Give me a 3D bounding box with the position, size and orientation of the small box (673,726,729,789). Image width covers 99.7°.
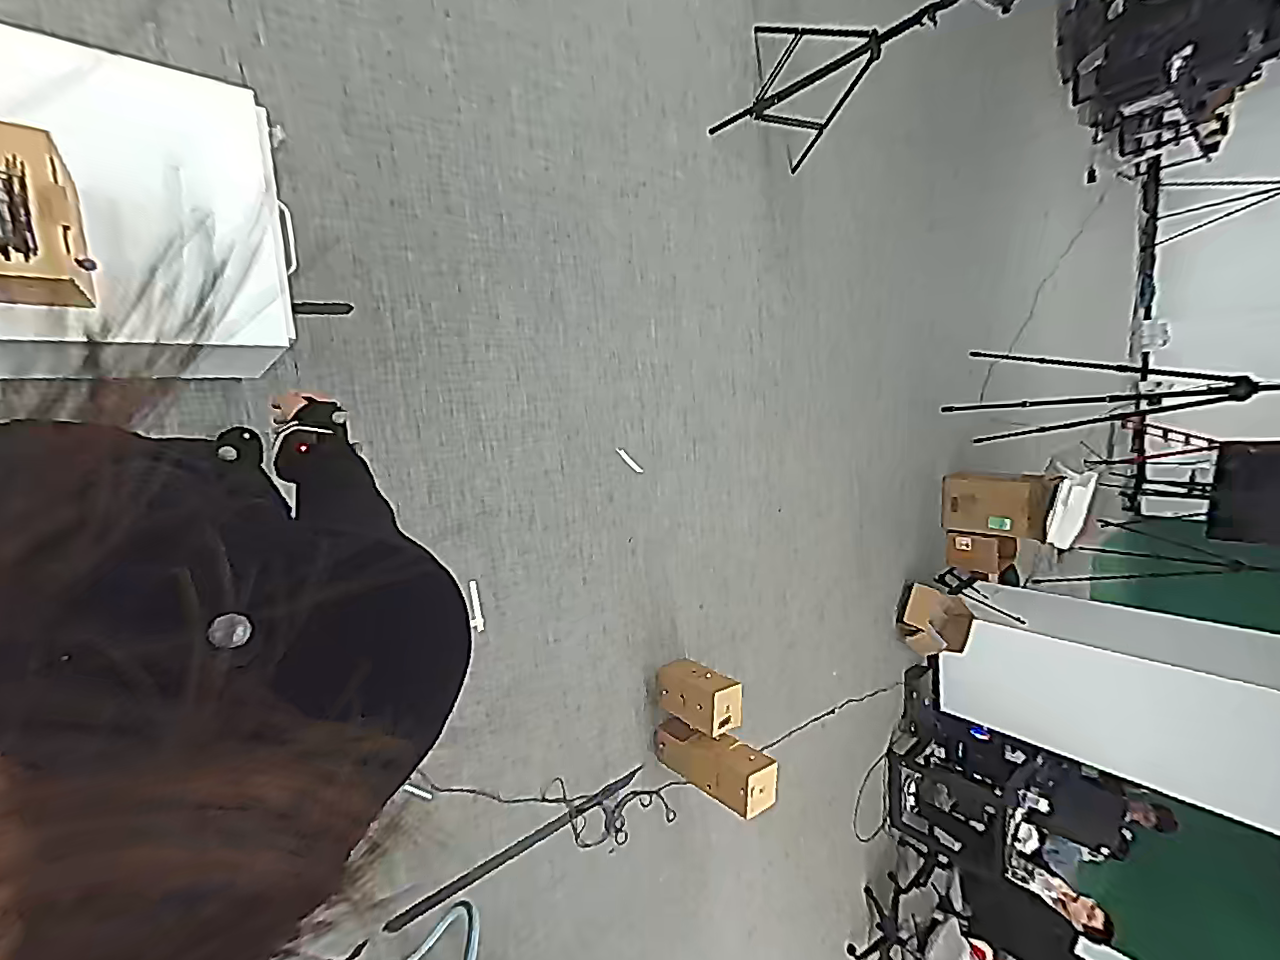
[{"bbox_3d":[0.249,1.123,2.211,0.168,0.176,0.179,-9,99,-40],"label":"small box"}]

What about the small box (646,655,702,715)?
[{"bbox_3d":[0.146,0.866,2.310,0.179,0.176,0.168,-4,96,-40],"label":"small box"}]

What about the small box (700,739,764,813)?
[{"bbox_3d":[0.356,1.132,2.085,0.179,0.176,0.168,1,93,-42],"label":"small box"}]

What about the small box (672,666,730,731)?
[{"bbox_3d":[0.243,0.873,2.176,0.168,0.176,0.179,0,93,-41],"label":"small box"}]

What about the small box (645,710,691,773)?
[{"bbox_3d":[0.144,1.112,2.333,0.179,0.176,0.168,-11,100,-40],"label":"small box"}]
